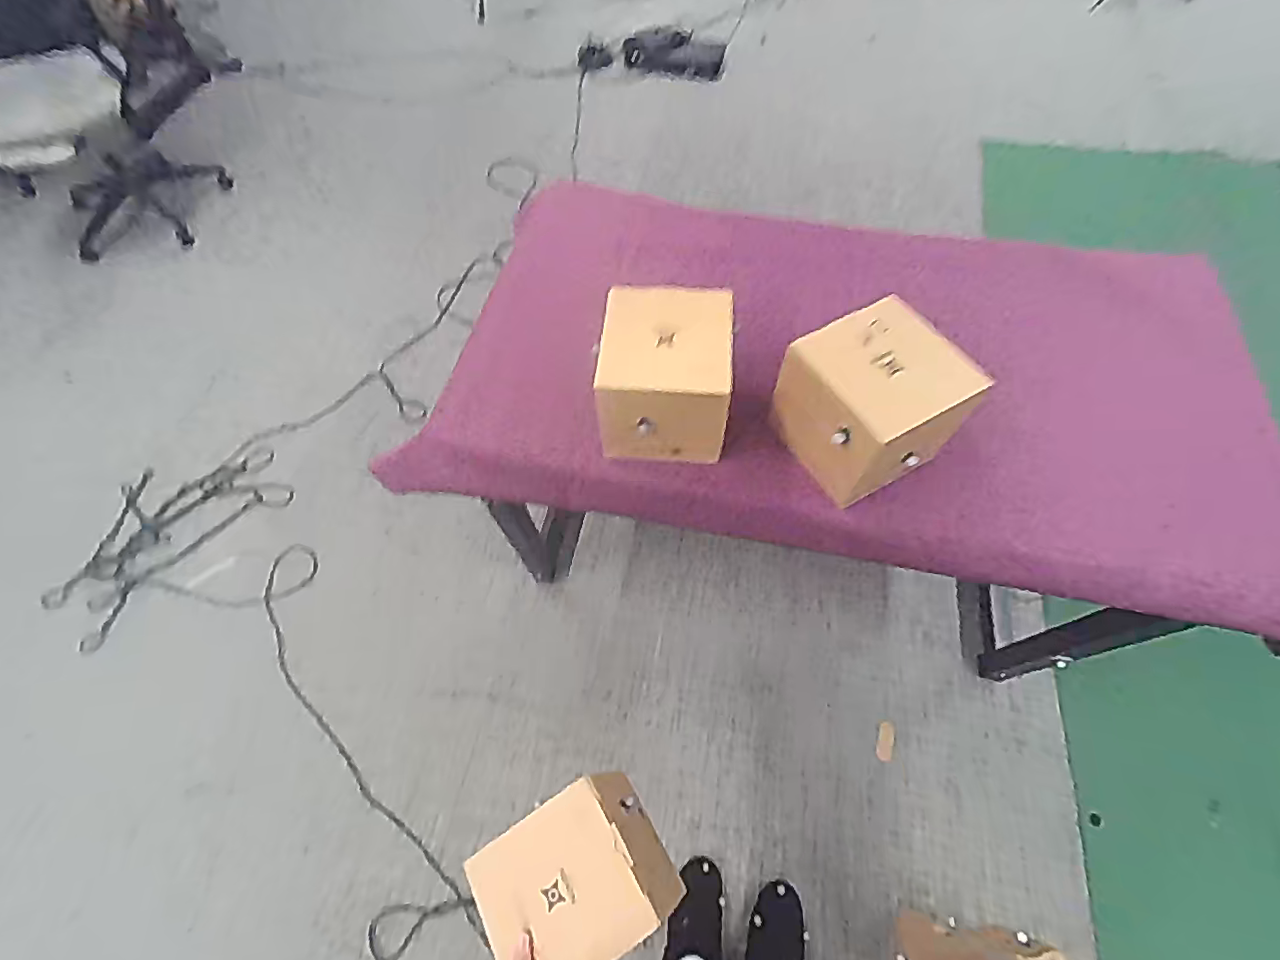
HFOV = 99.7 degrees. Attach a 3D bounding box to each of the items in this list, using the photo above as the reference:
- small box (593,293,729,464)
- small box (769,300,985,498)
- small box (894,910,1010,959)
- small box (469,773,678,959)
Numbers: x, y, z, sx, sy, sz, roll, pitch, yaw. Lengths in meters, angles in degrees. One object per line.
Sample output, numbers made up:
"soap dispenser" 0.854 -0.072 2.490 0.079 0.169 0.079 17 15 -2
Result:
"small box" 0.035 -0.137 0.759 0.168 0.176 0.179 3 60 4
"small box" 0.298 -0.097 0.723 0.168 0.176 0.179 -26 63 -12
"small box" 0.575 0.922 0.984 0.179 0.176 0.168 19 64 13
"small box" -0.068 0.478 0.654 0.179 0.176 0.168 -34 60 -3
